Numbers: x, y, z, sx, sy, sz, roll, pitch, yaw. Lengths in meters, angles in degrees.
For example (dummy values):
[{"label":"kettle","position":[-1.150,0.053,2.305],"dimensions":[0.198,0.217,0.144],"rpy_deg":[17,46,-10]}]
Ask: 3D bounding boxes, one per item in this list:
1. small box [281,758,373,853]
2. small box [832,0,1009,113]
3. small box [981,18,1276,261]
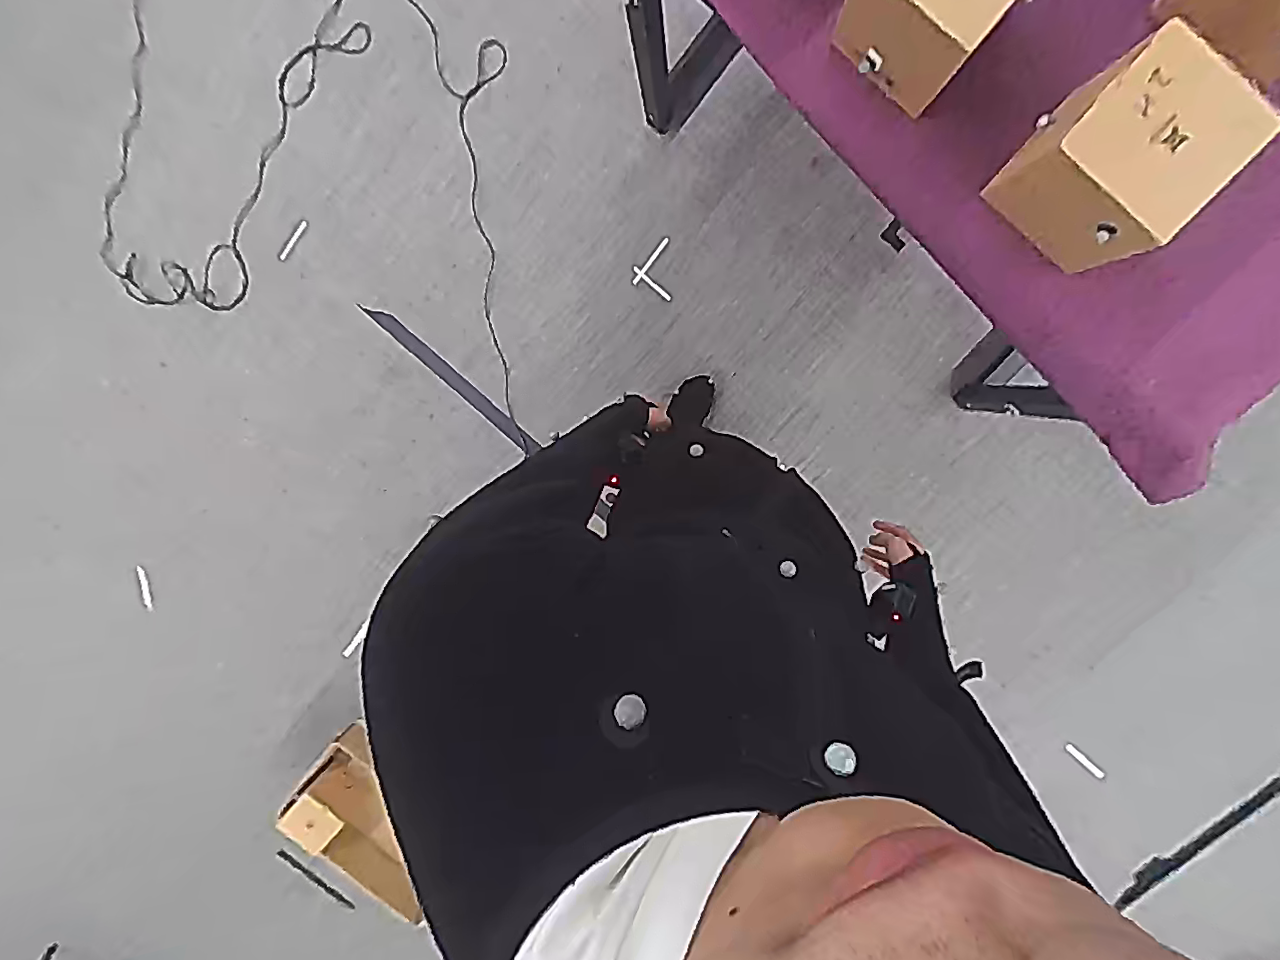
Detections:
[{"label":"small box","position":[-1.048,1.092,1.826],"dimensions":[0.168,0.176,0.179],"rpy_deg":[40,99,-3]},{"label":"small box","position":[0.367,-0.615,0.669],"dimensions":[0.168,0.176,0.179],"rpy_deg":[40,103,-2]},{"label":"small box","position":[0.590,-0.402,0.683],"dimensions":[0.179,0.176,0.168],"rpy_deg":[41,101,-2]}]
